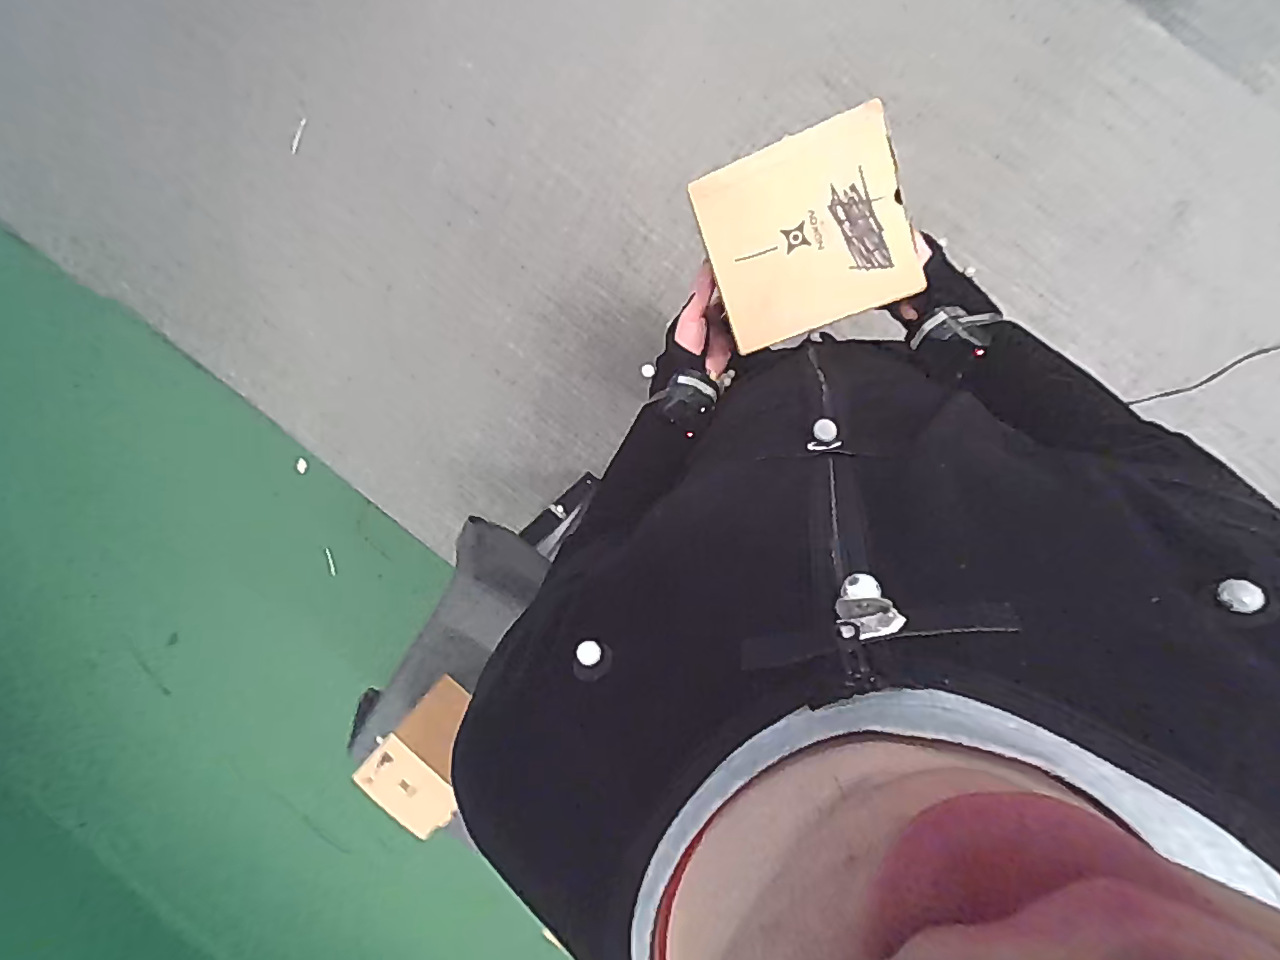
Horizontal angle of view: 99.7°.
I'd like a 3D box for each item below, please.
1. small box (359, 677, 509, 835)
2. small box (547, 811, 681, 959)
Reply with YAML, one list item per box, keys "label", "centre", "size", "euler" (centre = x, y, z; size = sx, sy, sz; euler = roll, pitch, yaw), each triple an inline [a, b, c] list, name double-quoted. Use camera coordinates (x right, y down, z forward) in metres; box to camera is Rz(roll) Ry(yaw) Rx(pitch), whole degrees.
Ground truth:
- label: "small box"
  centre: [-0.385, 0.521, 1.039]
  size: [0.179, 0.176, 0.168]
  euler: [42, 112, -2]
- label: "small box"
  centre: [-0.041, 0.790, 1.039]
  size: [0.179, 0.176, 0.168]
  euler: [37, 111, 2]
